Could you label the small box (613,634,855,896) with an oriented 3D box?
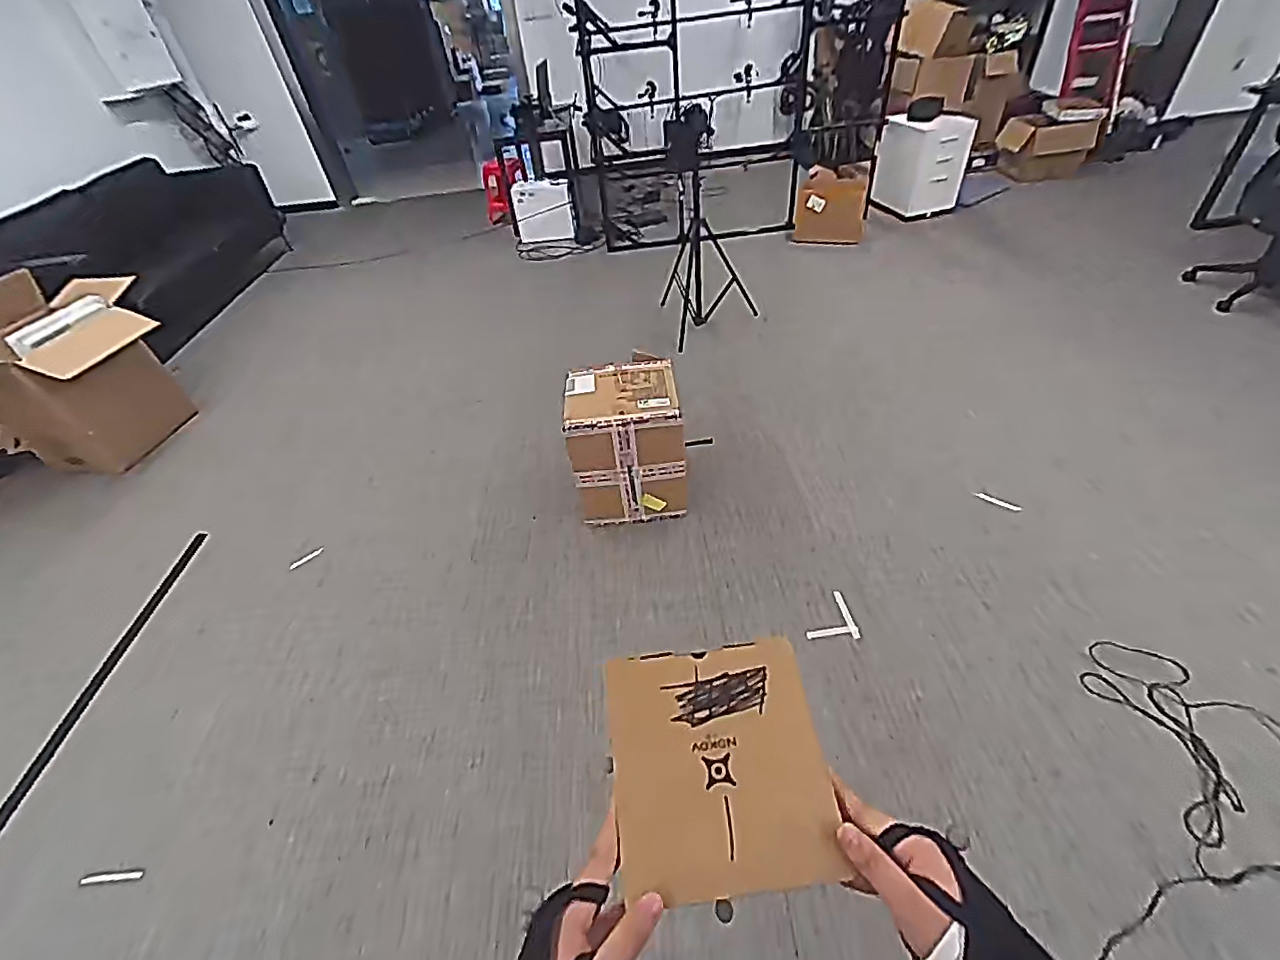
[{"bbox_3d":[0.066,0.262,0.494,0.168,0.176,0.179,-7,53,-2],"label":"small box"}]
